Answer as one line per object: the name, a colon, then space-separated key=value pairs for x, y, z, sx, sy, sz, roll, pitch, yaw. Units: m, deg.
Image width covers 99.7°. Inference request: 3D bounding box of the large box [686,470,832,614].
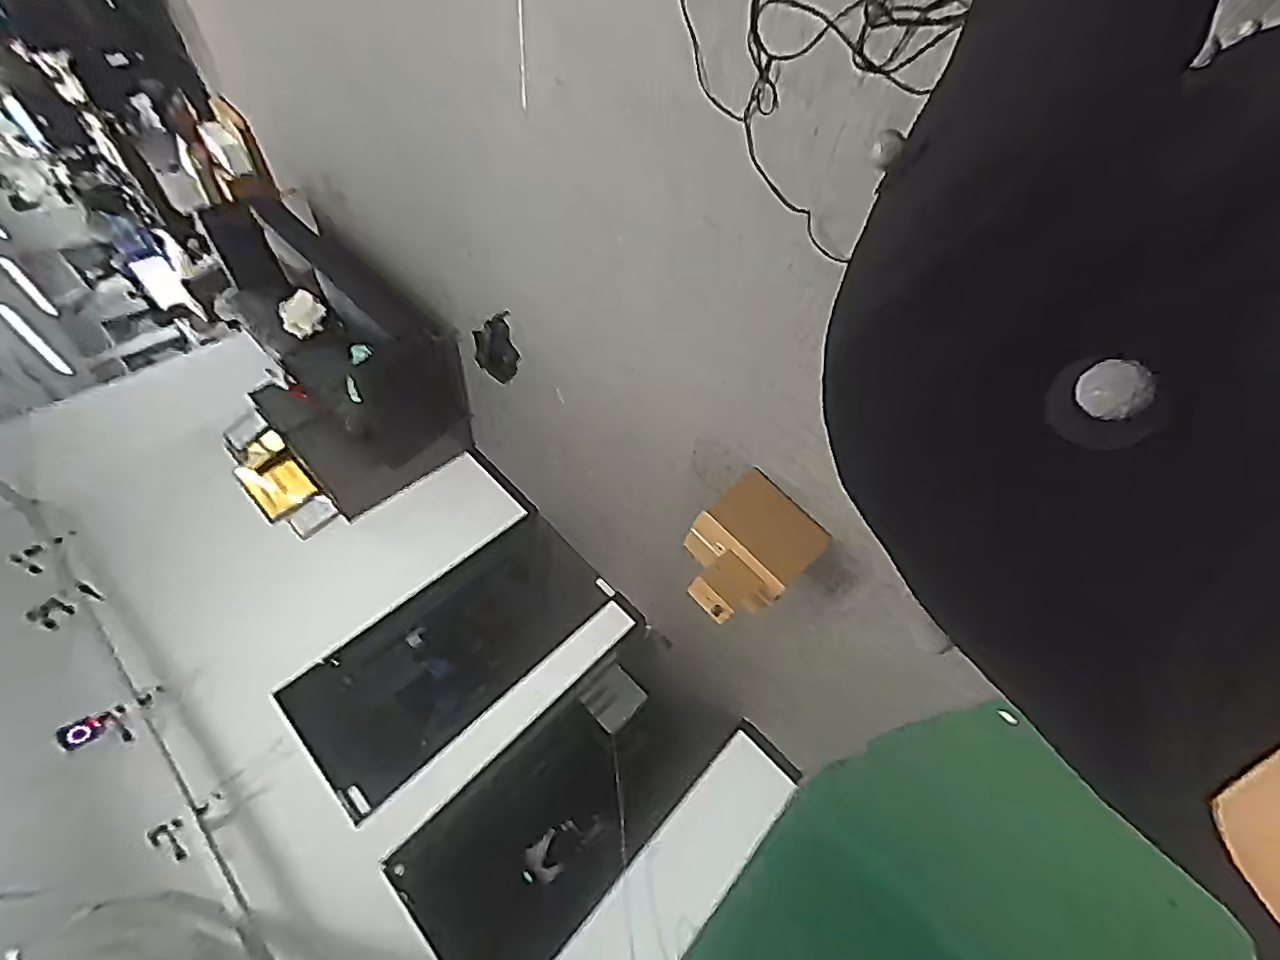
large box: x=0.455 y=0.240 z=2.119 sx=0.408 sy=0.320 sz=0.320 roll=46 pitch=150 yaw=16
